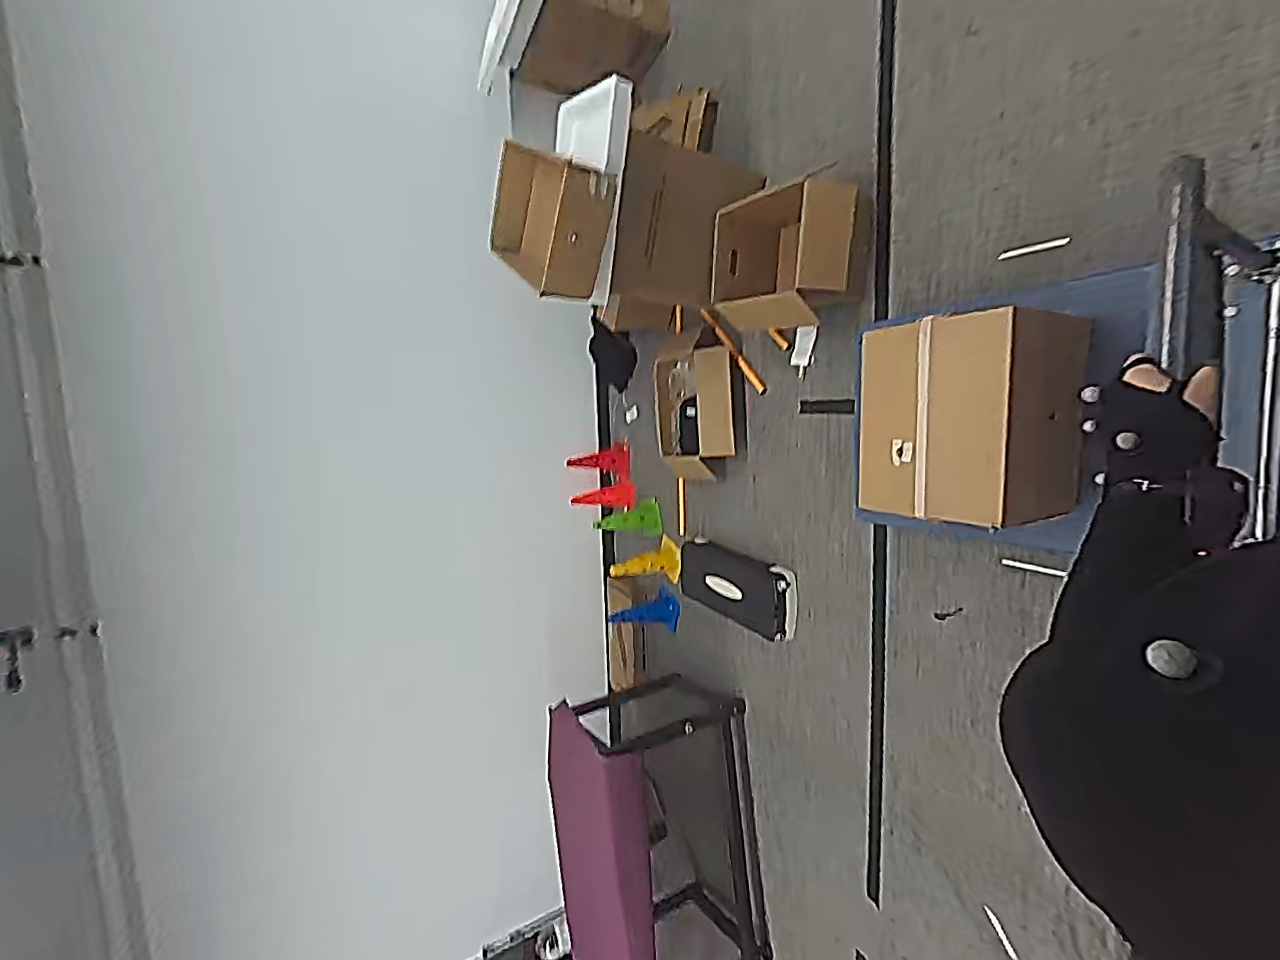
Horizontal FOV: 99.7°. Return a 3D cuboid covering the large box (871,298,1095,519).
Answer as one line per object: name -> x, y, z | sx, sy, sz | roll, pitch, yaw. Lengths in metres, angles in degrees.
large box -> 0.732, -0.150, 1.172 | 0.320, 0.320, 0.408 | 9, 104, 61
